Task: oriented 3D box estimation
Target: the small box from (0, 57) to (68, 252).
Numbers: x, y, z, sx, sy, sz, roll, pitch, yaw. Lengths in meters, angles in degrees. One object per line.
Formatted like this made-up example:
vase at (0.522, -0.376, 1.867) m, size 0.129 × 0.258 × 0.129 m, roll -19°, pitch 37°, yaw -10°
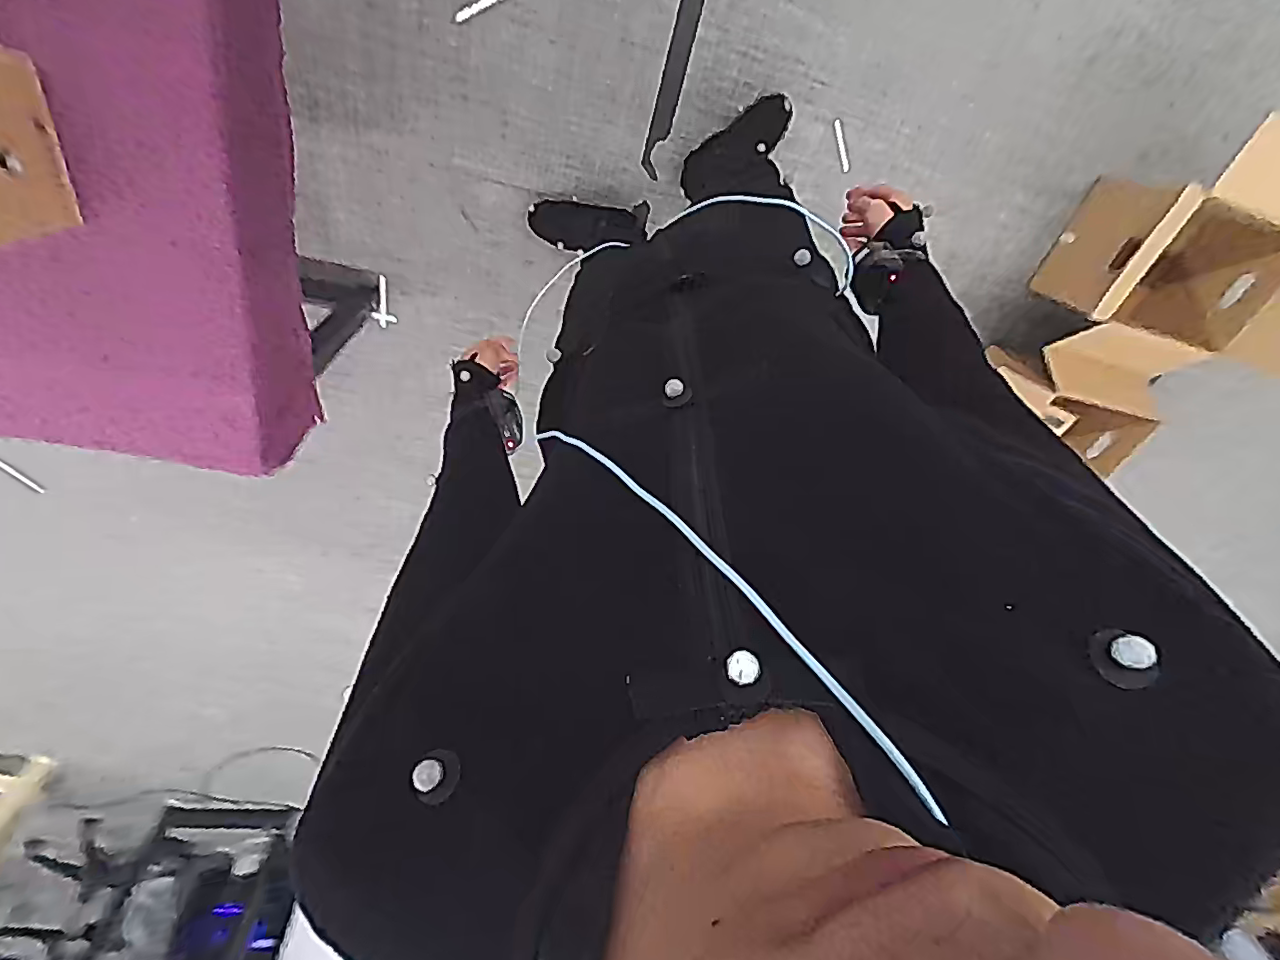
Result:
small box at (-0.716, -0.326, 0.516) m, size 0.179 × 0.176 × 0.168 m, roll 8°, pitch 124°, yaw -12°
